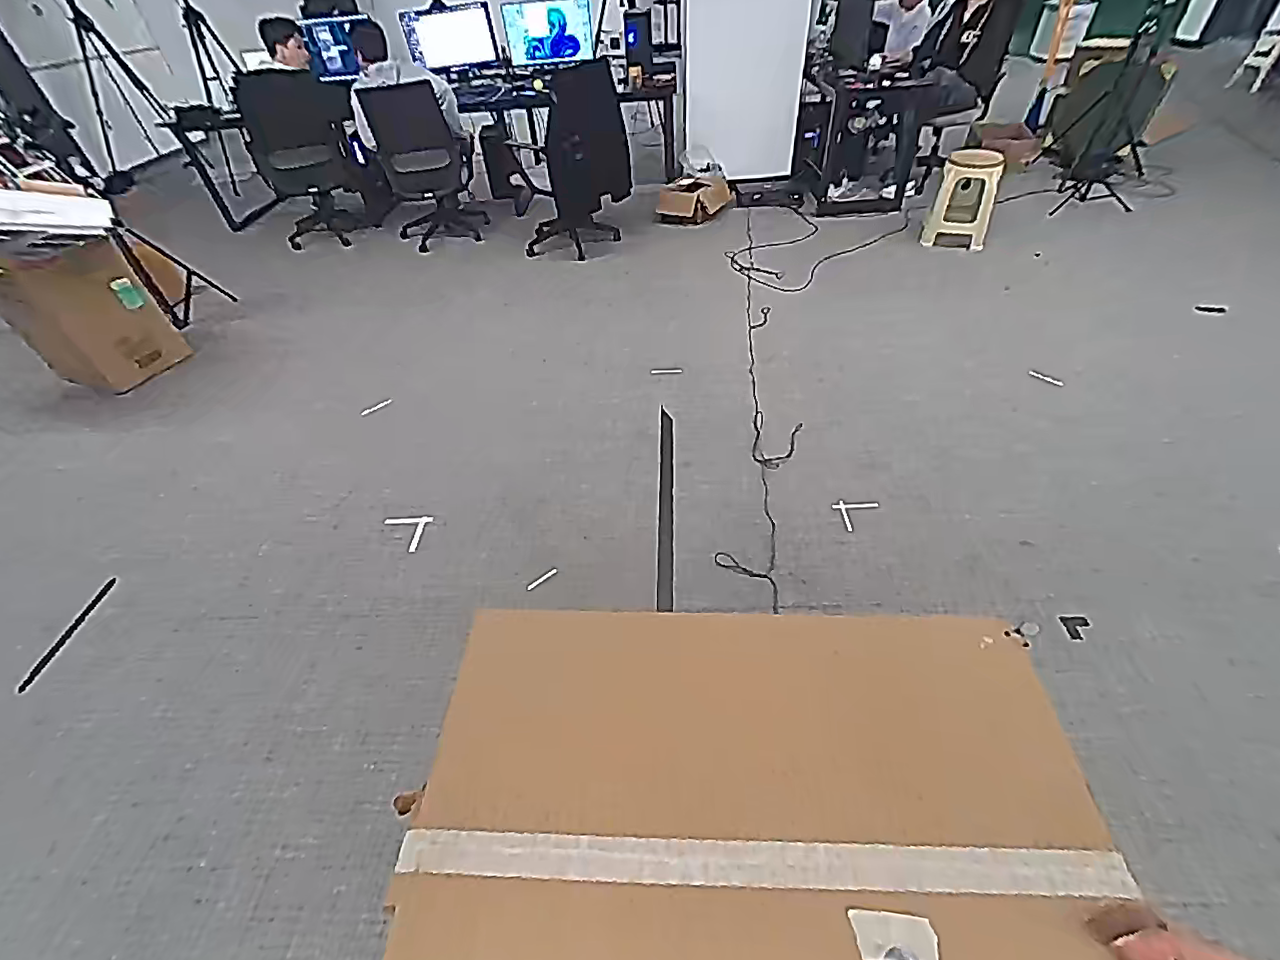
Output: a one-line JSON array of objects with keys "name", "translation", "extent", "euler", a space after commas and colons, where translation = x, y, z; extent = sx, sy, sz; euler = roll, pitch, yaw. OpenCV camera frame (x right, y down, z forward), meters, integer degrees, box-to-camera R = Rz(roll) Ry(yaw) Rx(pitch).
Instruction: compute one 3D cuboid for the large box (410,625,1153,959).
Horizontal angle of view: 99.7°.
[{"name": "large box", "translation": [0.075, 0.327, 0.427], "extent": [0.408, 0.320, 0.320], "euler": [0, 49, 2]}]
